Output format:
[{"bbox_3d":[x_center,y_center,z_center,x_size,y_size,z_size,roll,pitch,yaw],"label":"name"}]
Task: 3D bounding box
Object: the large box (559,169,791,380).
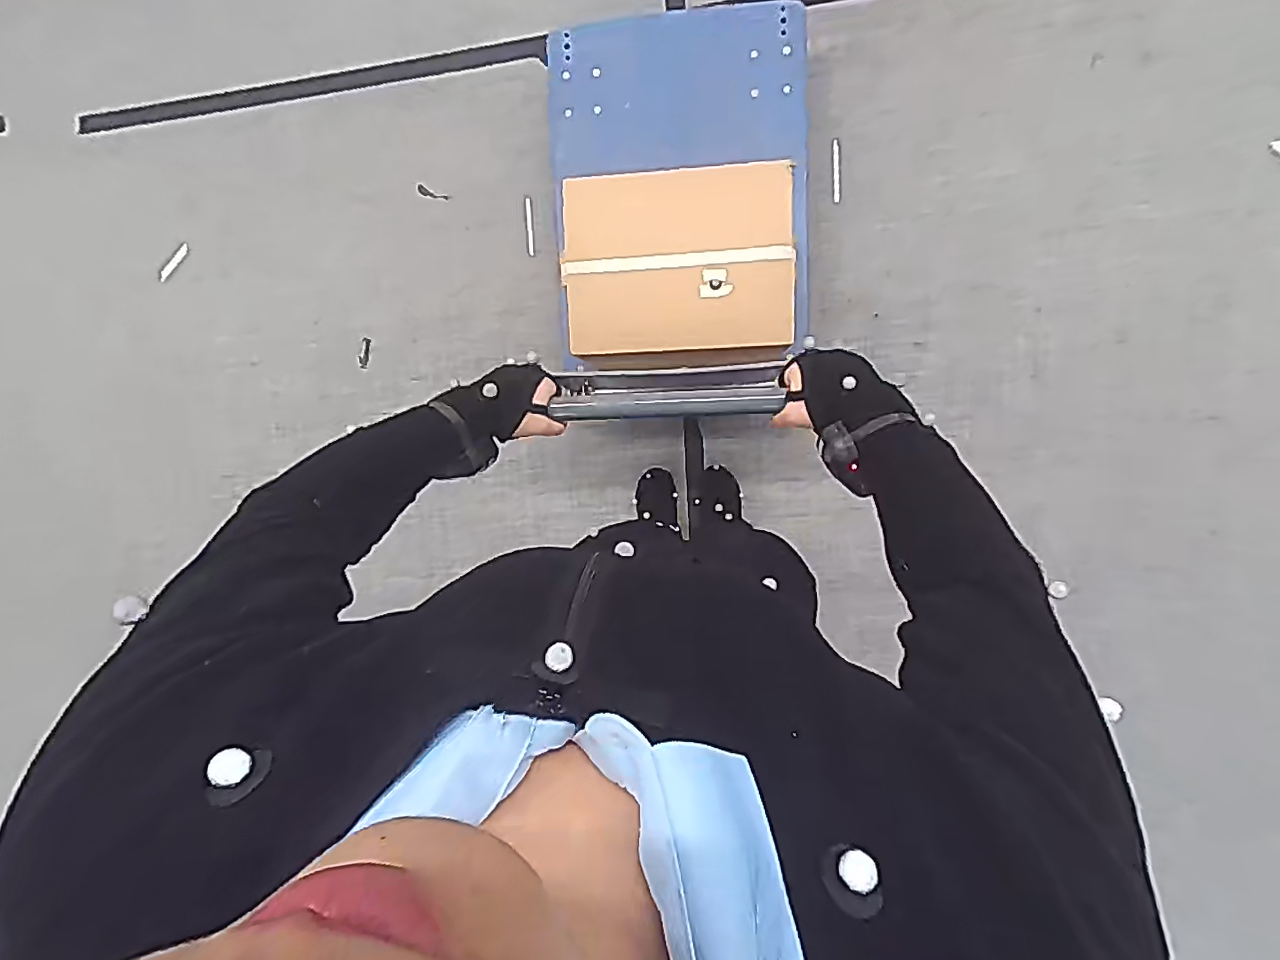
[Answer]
[{"bbox_3d":[0.072,-0.384,1.103,0.408,0.320,0.320,-2,96,5],"label":"large box"}]
